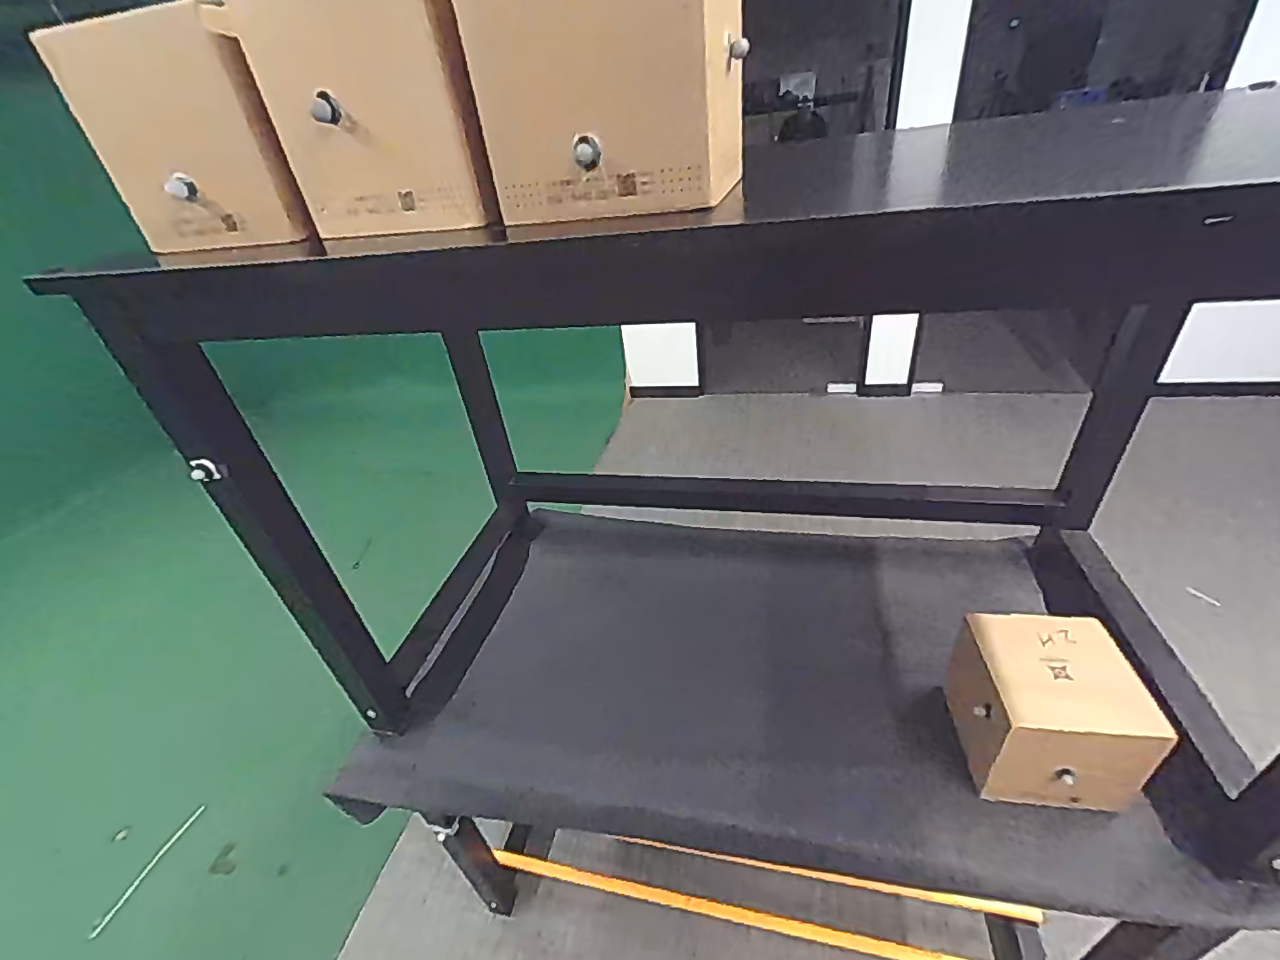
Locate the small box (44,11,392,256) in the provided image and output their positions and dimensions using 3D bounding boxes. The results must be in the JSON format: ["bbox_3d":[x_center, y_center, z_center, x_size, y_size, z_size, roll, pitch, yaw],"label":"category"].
[{"bbox_3d":[-0.370,-0.323,0.522,0.168,0.176,0.179,2,36,13],"label":"small box"}]

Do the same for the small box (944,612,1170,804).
[{"bbox_3d":[0.533,0.302,0.724,0.168,0.176,0.179,0,34,11],"label":"small box"}]
